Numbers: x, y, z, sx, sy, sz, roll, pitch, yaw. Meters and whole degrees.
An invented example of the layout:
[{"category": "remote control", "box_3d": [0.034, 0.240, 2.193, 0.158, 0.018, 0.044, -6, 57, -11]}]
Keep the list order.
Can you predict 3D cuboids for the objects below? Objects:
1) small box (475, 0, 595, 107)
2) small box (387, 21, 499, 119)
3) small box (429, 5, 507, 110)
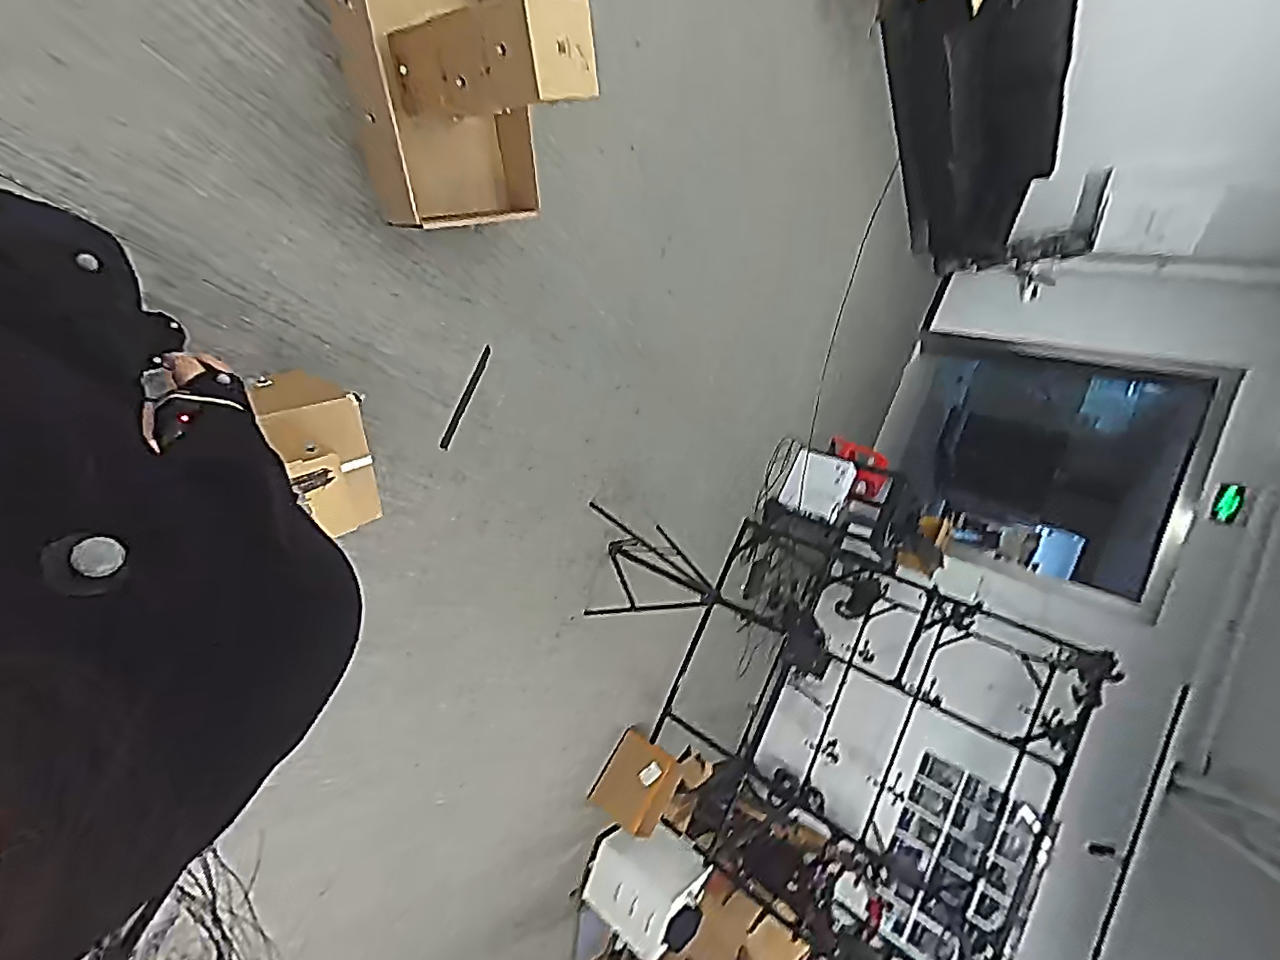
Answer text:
[{"category": "small box", "box_3d": [-0.220, -0.882, 1.121, 0.179, 0.176, 0.168, -37, 136, -37]}, {"category": "small box", "box_3d": [-0.473, -0.979, 1.305, 0.179, 0.176, 0.168, -32, 131, -40]}, {"category": "small box", "box_3d": [-0.347, -0.938, 1.212, 0.179, 0.176, 0.168, -38, 137, -39]}]
